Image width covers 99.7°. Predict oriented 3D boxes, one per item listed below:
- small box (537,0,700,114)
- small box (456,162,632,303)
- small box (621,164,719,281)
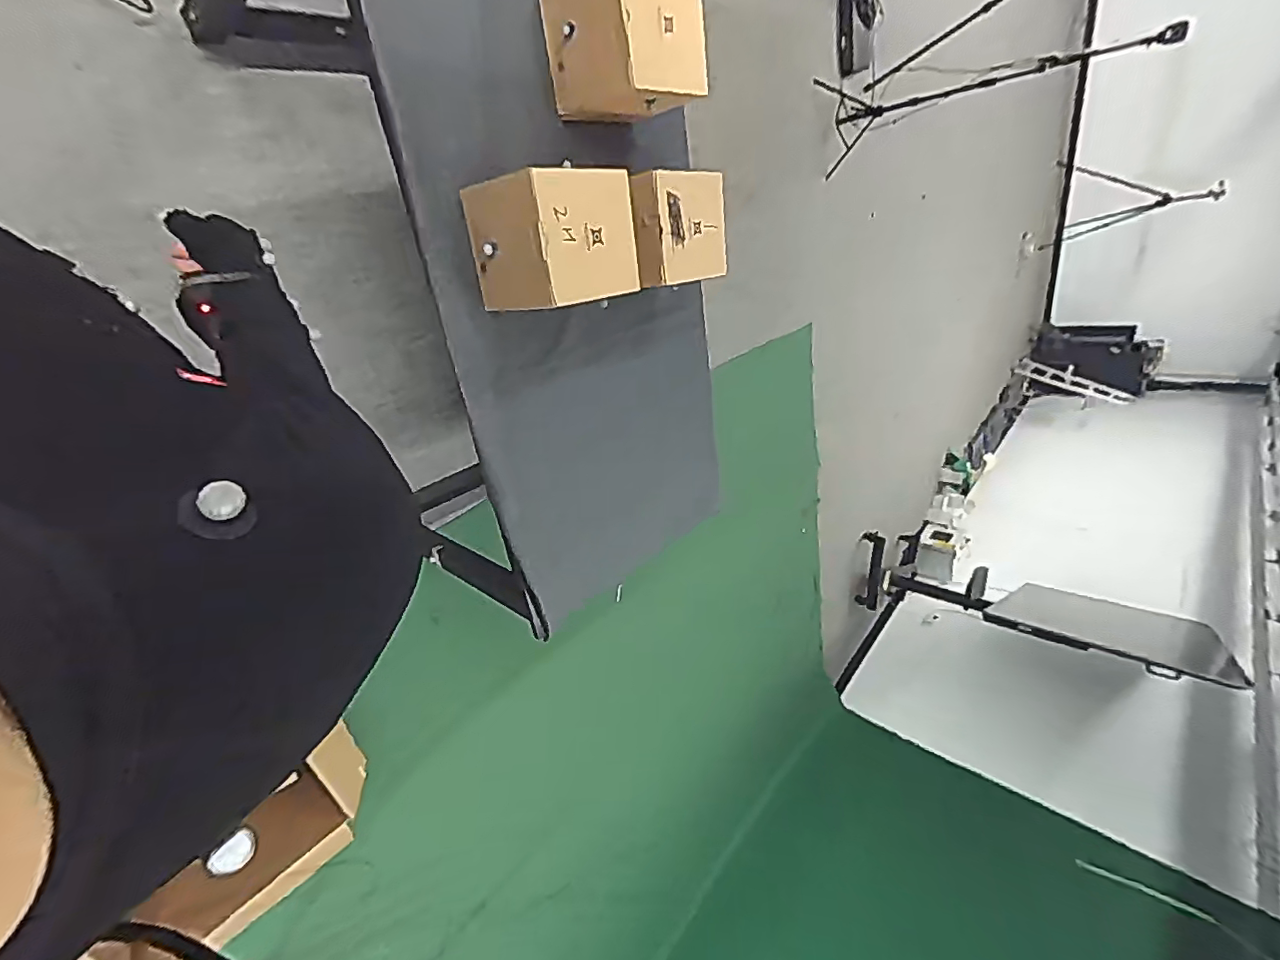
[{"bbox_3d":[-0.030,-0.671,0.818,0.179,0.176,0.168,-30,123,-39],"label":"small box"},{"bbox_3d":[-0.137,-0.357,0.792,0.179,0.176,0.168,-29,122,-41],"label":"small box"},{"bbox_3d":[0.016,-0.439,0.941,0.179,0.176,0.168,-28,122,-41],"label":"small box"}]
